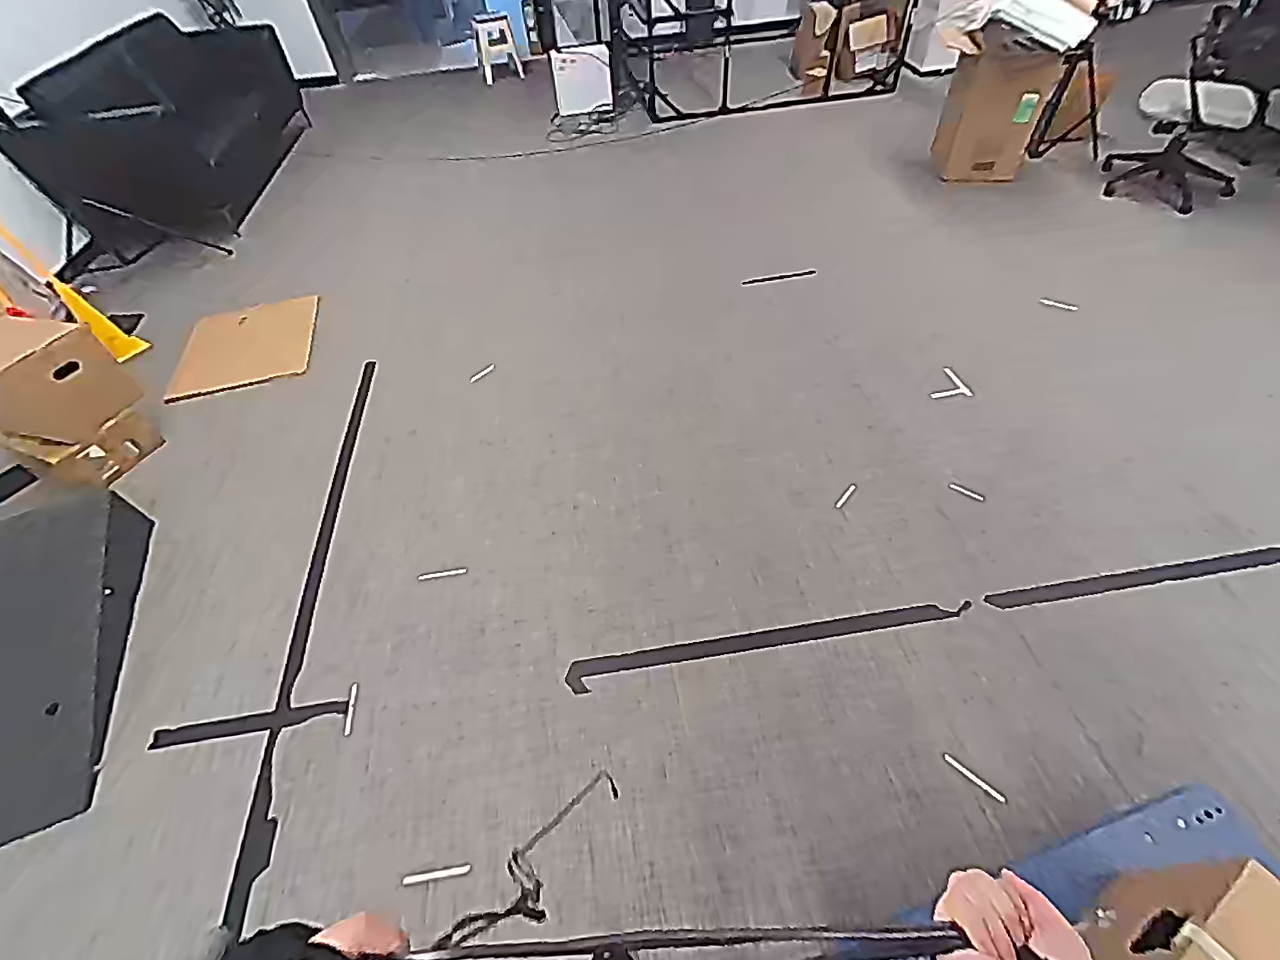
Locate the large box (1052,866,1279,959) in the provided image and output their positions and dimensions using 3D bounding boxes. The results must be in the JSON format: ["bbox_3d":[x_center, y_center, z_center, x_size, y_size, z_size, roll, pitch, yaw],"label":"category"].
[{"bbox_3d":[0.859,0.833,0.731,0.320,0.320,0.408,-29,55,-17],"label":"large box"}]
